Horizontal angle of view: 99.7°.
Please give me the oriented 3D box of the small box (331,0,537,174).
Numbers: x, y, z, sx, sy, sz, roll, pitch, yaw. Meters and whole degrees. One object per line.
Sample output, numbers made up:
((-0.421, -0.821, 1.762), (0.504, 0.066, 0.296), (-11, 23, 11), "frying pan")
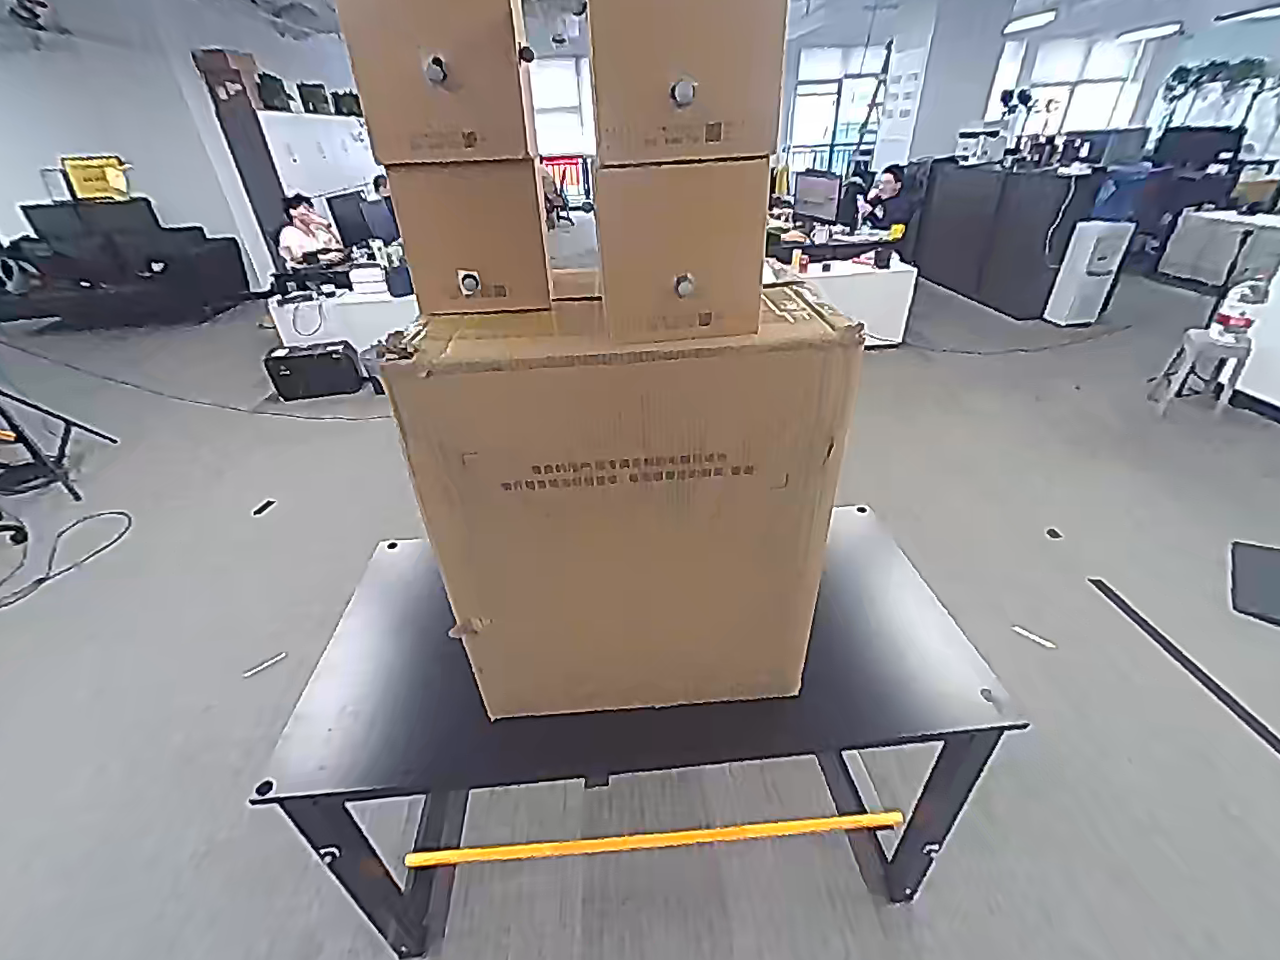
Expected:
((-0.213, -0.448, 0.615), (0.168, 0.176, 0.179), (-5, 33, -4), "small box")

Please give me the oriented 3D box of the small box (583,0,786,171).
((0.032, -0.399, 0.522), (0.168, 0.176, 0.179), (-6, 33, -2), "small box")

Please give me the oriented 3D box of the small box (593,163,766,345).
((0.035, -0.264, 0.616), (0.168, 0.176, 0.179), (-6, 33, -3), "small box")

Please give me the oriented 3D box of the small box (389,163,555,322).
((-0.206, -0.318, 0.716), (0.168, 0.176, 0.179), (-7, 33, -5), "small box")
